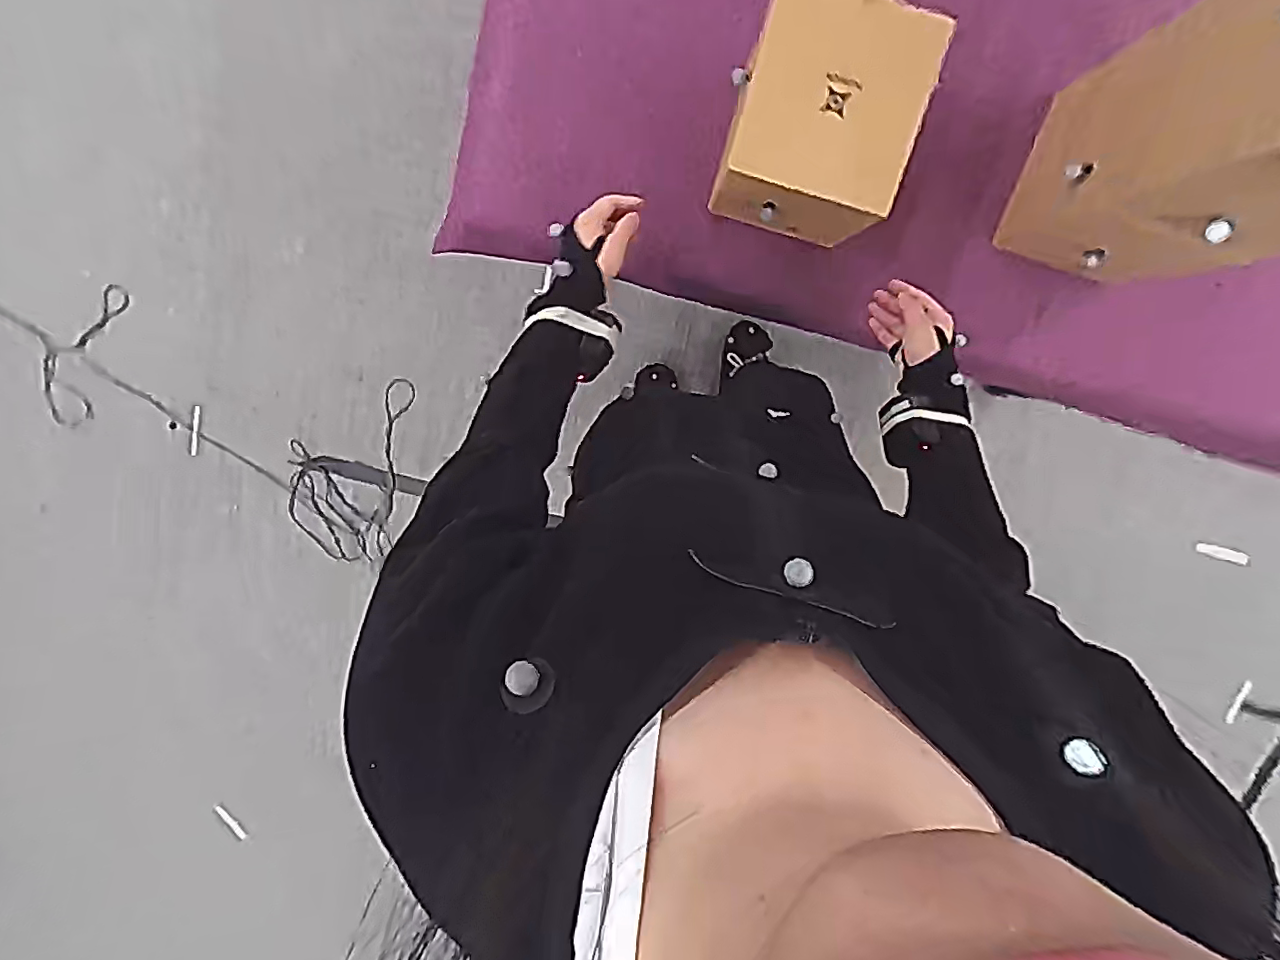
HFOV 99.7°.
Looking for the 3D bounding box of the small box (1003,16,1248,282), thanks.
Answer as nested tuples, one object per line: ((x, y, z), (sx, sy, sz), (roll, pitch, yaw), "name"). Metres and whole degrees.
((0.540, -0.330, 0.584), (0.168, 0.176, 0.179), (17, 102, -3), "small box")

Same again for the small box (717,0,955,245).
((0.187, -0.374, 0.582), (0.168, 0.176, 0.179), (16, 102, -3), "small box")
